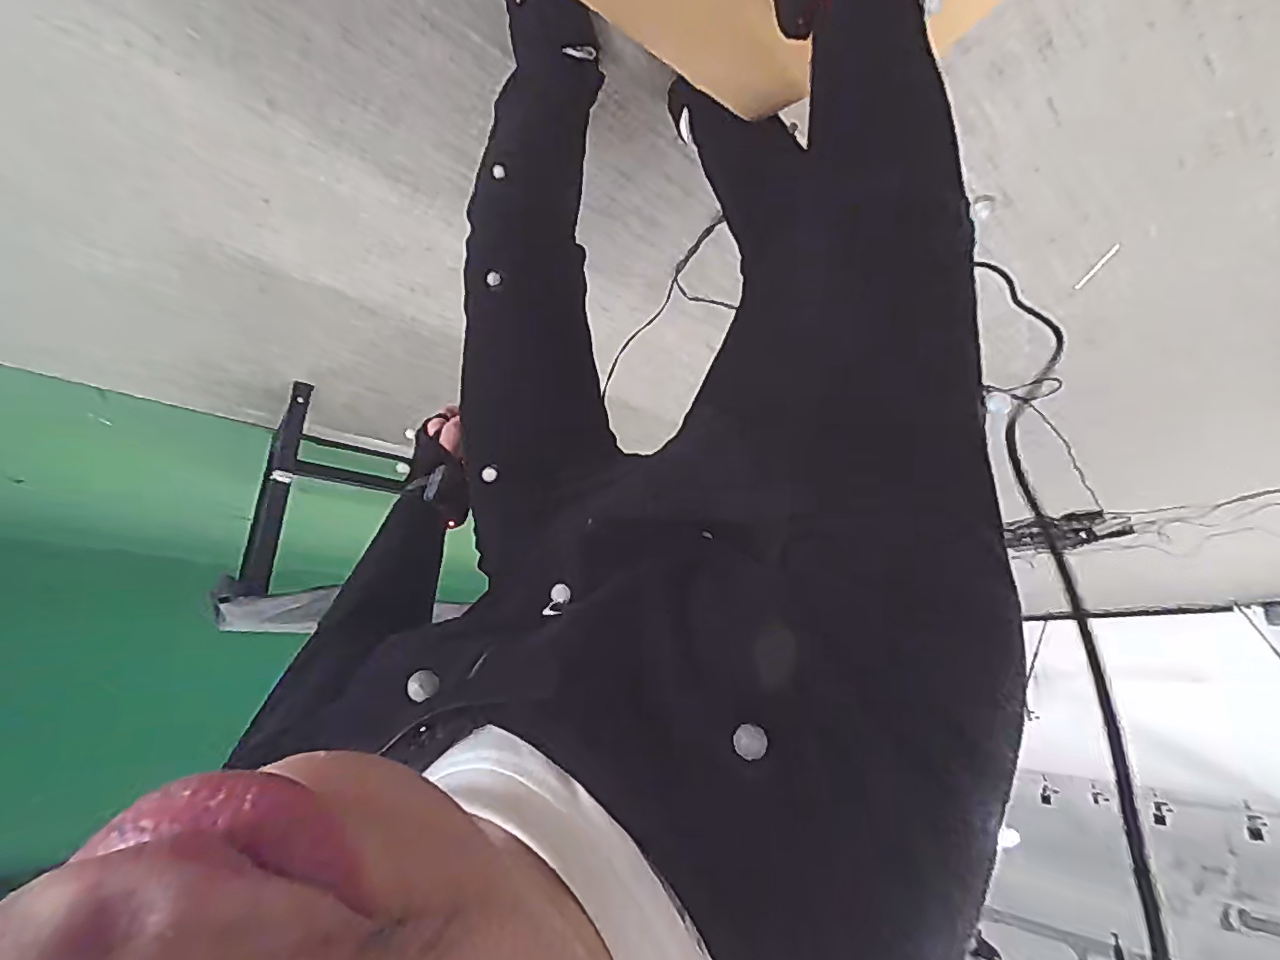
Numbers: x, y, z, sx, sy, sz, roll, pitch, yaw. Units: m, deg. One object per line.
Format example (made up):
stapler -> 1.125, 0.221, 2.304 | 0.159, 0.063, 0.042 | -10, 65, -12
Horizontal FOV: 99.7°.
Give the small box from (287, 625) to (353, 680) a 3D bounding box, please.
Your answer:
small box -> -1.082, 0.584, 1.830 | 0.168, 0.176, 0.179 | 13, 158, -29
